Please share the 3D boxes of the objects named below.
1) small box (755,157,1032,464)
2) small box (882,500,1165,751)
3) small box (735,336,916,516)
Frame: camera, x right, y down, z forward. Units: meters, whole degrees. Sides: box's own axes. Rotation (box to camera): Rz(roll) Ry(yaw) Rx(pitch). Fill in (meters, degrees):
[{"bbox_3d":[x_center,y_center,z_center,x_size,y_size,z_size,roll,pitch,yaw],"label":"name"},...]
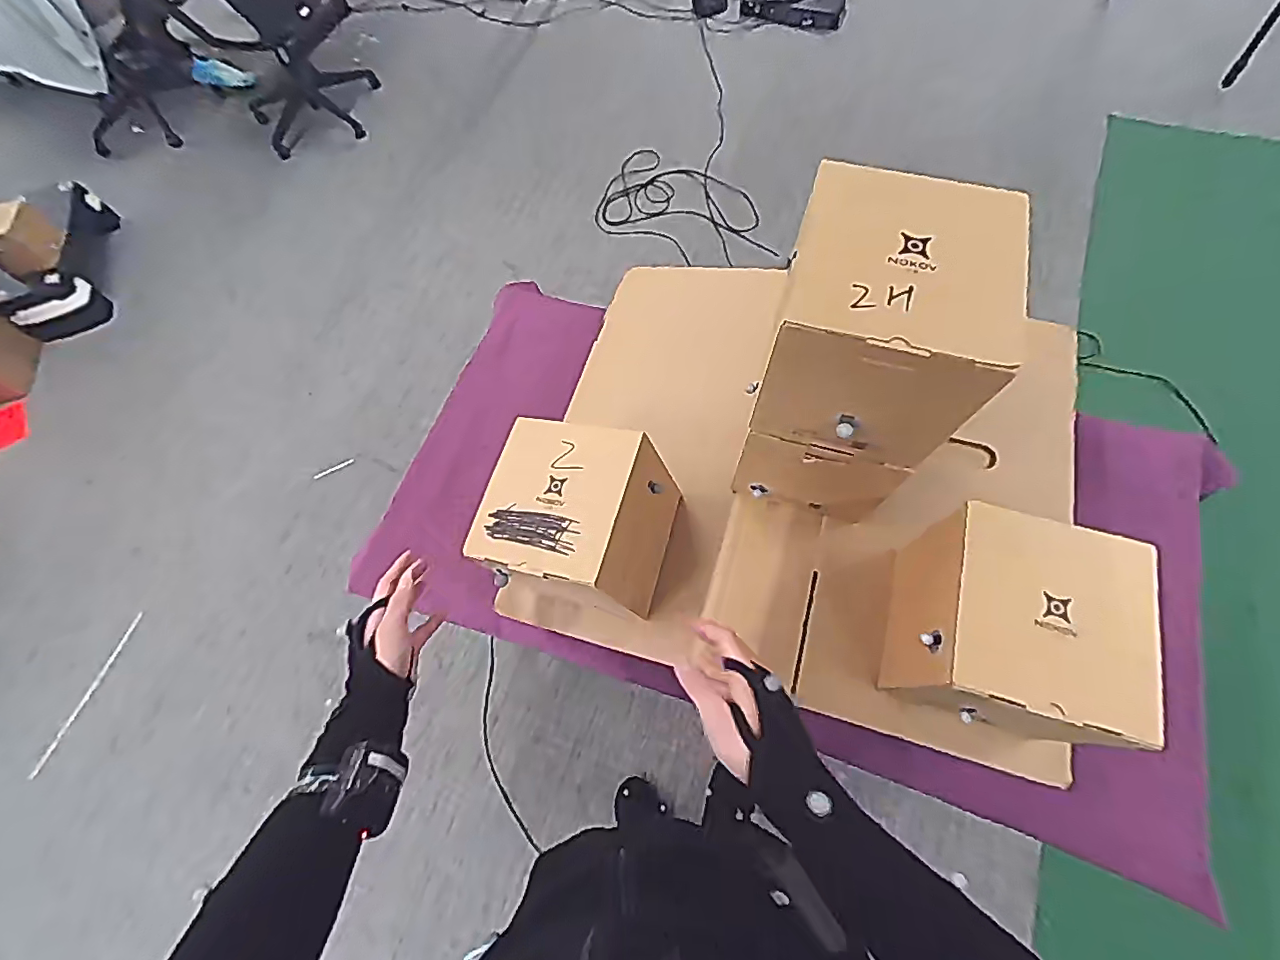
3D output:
[{"bbox_3d":[0.208,-0.140,0.481,0.168,0.176,0.179,15,70,8],"label":"small box"},{"bbox_3d":[0.361,0.145,0.539,0.168,0.176,0.179,15,70,8],"label":"small box"},{"bbox_3d":[0.214,-0.075,0.632,0.168,0.176,0.179,15,69,8],"label":"small box"}]
